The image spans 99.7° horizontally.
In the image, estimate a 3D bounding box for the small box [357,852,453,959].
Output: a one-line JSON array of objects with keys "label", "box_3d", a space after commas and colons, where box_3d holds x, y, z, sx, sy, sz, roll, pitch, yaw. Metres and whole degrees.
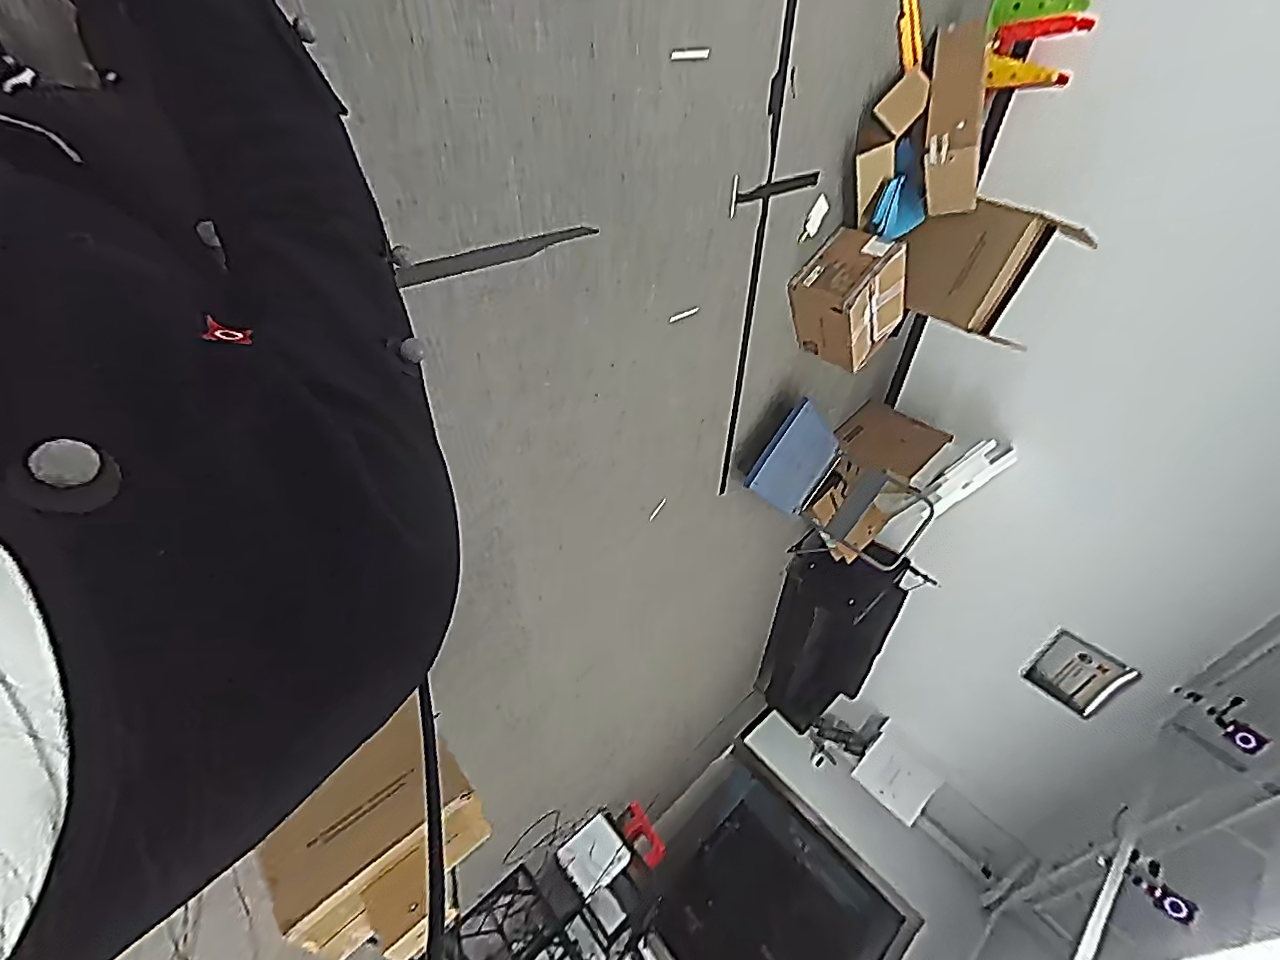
[{"label": "small box", "box_3d": [-0.652, 1.188, 1.505, 0.179, 0.176, 0.168, -29, 139, -31]}]
